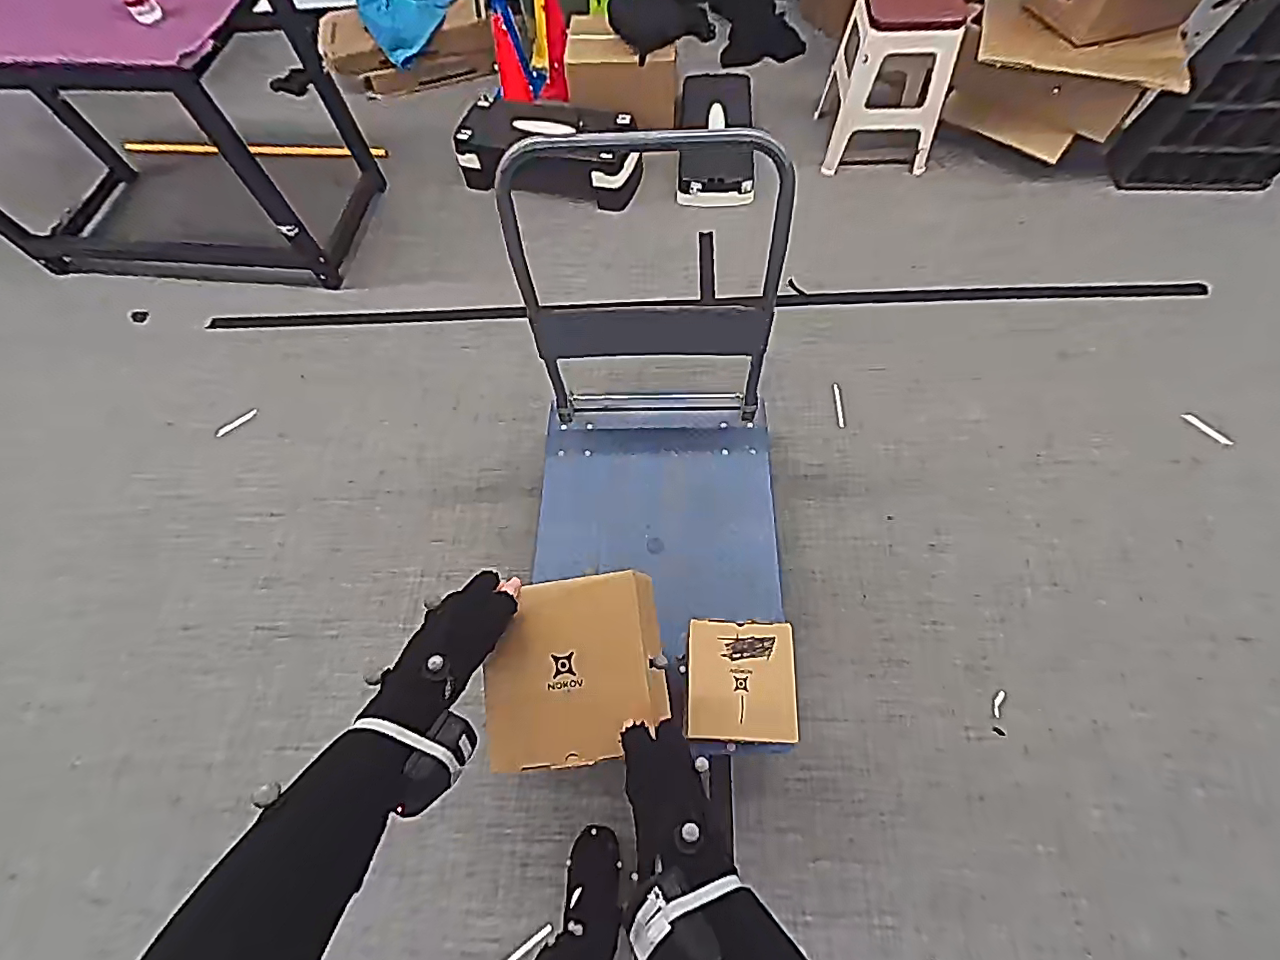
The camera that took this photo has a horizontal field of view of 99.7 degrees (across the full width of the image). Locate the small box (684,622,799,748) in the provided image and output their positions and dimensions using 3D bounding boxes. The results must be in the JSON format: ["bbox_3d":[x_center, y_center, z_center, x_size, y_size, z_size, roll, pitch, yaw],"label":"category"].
[{"bbox_3d":[0.161,0.347,0.908,0.168,0.176,0.179,2,65,3],"label":"small box"}]

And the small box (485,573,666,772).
[{"bbox_3d":[-0.064,0.207,0.615,0.168,0.176,0.179,-9,77,5],"label":"small box"}]
